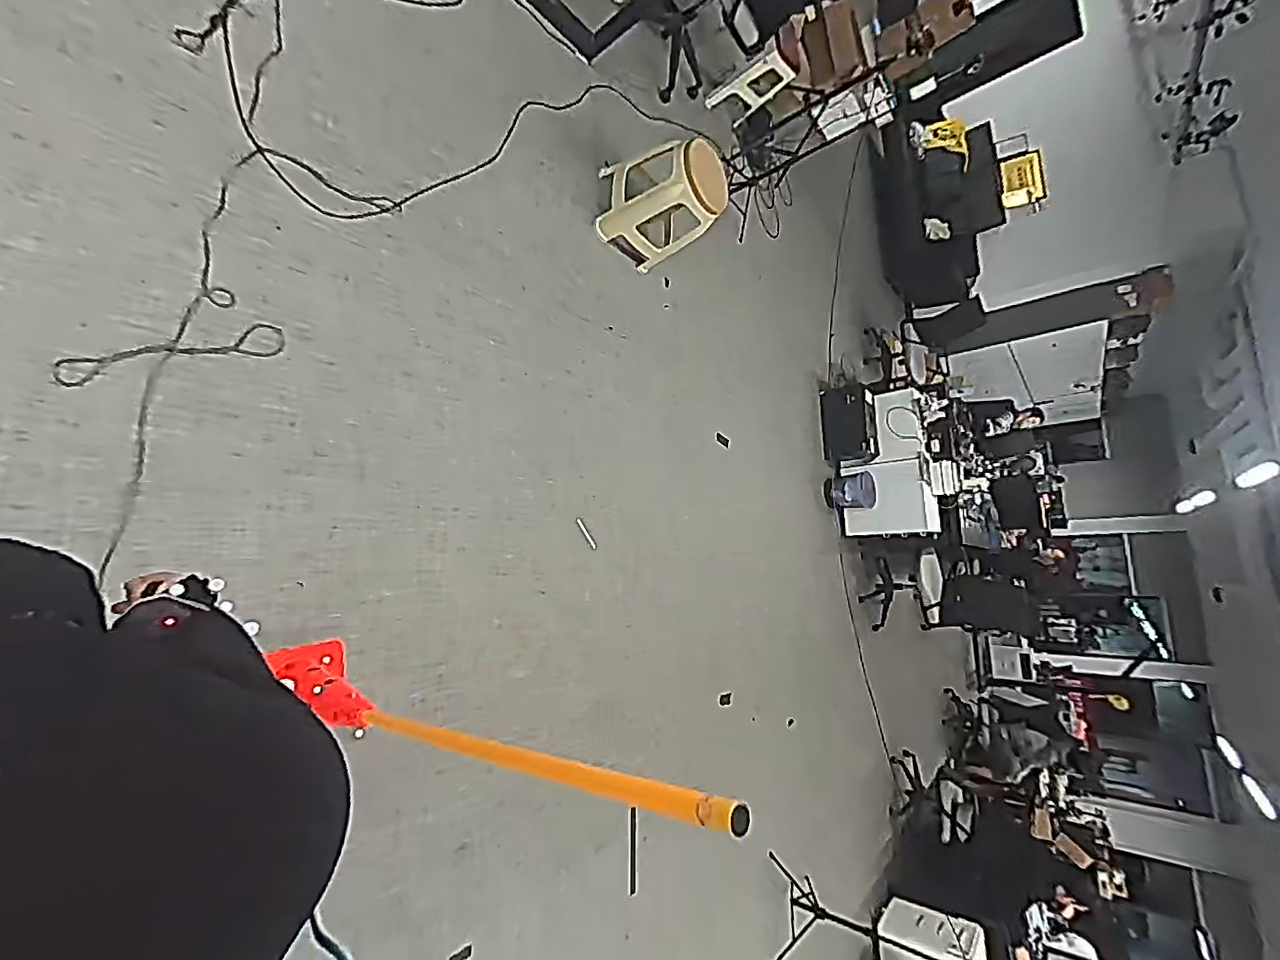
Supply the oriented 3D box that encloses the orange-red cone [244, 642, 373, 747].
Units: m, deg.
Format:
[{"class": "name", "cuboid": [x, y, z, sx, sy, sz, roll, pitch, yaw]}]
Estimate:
[{"class": "orange-red cone", "cuboid": [-0.648, 0.459, 1.113, 0.199, 0.360, 0.198, 2, 81, -50]}]
